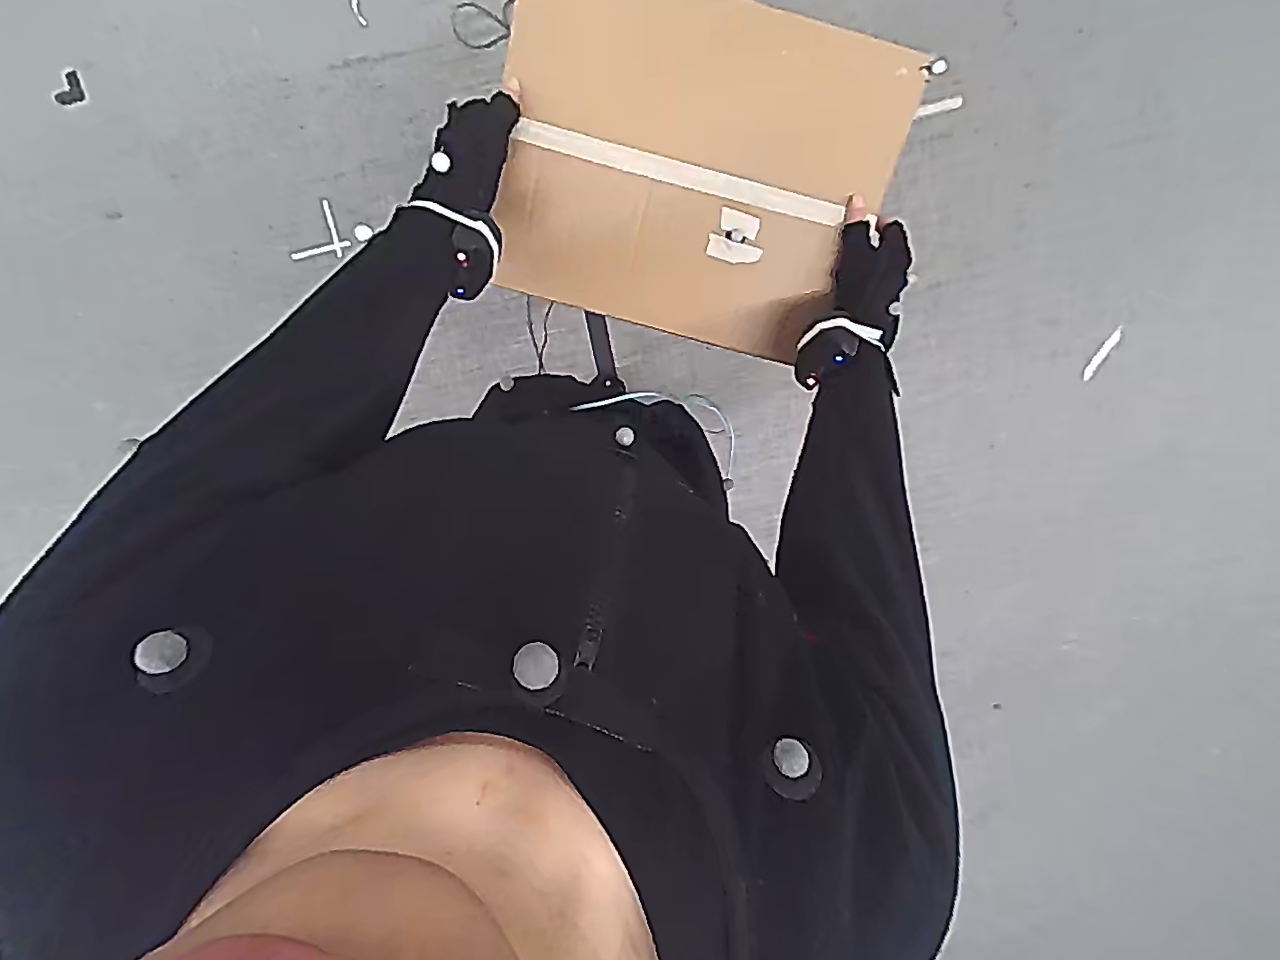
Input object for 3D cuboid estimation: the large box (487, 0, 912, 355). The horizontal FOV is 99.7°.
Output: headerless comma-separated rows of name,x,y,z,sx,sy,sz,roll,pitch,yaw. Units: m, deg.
large box,0.051,-0.375,0.721,0.408,0.320,0.320,13,109,-3
